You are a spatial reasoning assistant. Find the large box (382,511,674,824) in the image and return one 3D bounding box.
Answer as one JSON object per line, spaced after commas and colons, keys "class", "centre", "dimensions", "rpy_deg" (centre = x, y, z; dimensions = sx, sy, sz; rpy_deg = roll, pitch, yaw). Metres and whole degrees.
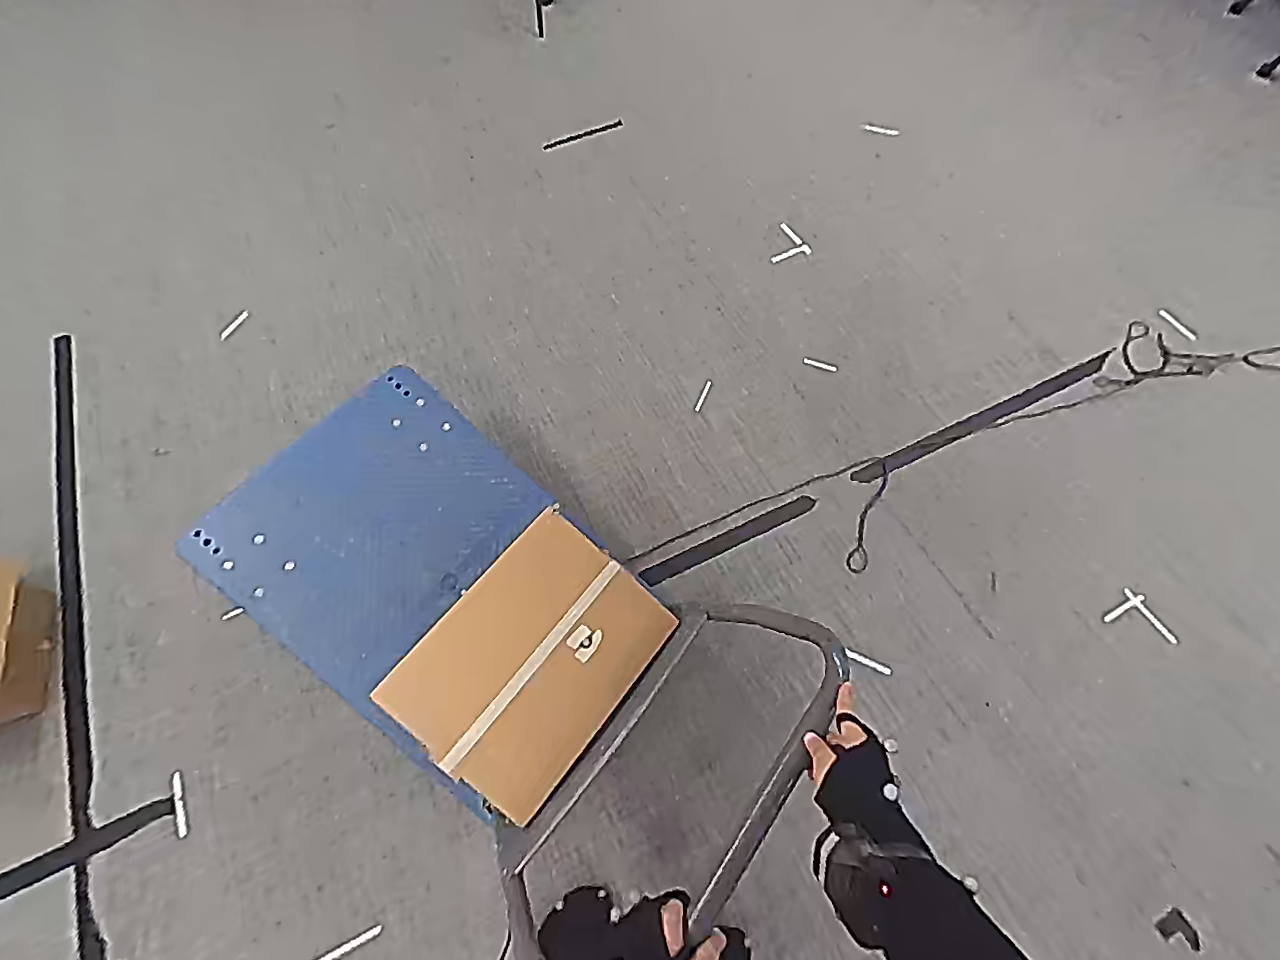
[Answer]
{"class": "large box", "centre": [-0.206, 0.333, 1.034], "dimensions": [0.320, 0.320, 0.408], "rpy_deg": [42, 68, -3]}
